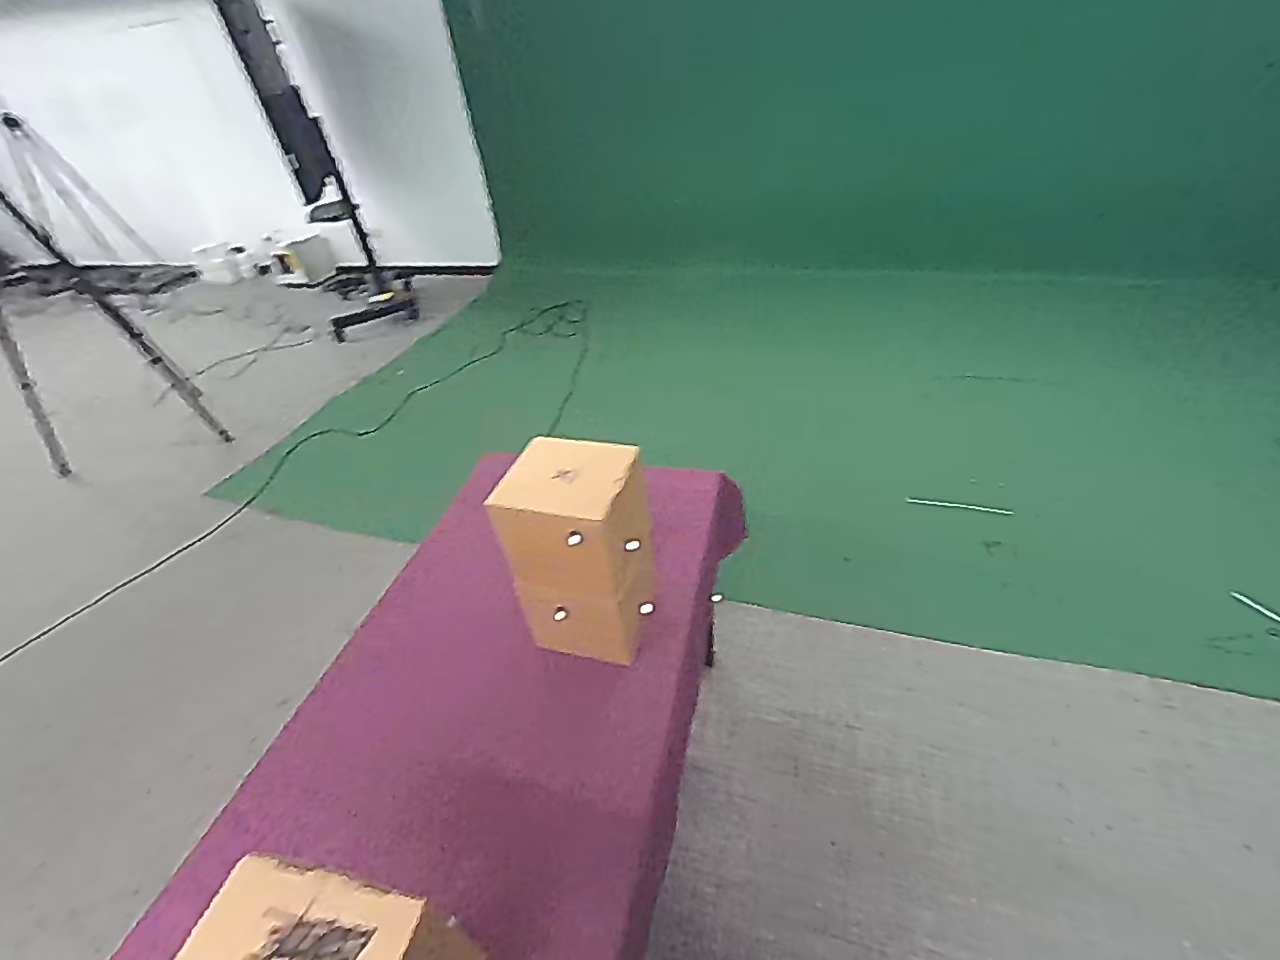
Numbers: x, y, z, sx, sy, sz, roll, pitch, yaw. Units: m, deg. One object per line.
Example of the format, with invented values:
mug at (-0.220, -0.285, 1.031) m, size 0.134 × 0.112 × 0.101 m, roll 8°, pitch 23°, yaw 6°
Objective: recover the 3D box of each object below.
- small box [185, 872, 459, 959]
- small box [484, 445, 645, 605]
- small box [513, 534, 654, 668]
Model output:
small box at (-0.243, 0.429, 0.391) m, size 0.168 × 0.176 × 0.179 m, roll 3°, pitch 40°, yaw 13°
small box at (-0.101, 0.067, 0.817) m, size 0.179 × 0.176 × 0.168 m, roll 7°, pitch 41°, yaw 16°
small box at (-0.085, 0.195, 0.917) m, size 0.179 × 0.176 × 0.168 m, roll 6°, pitch 41°, yaw 16°
